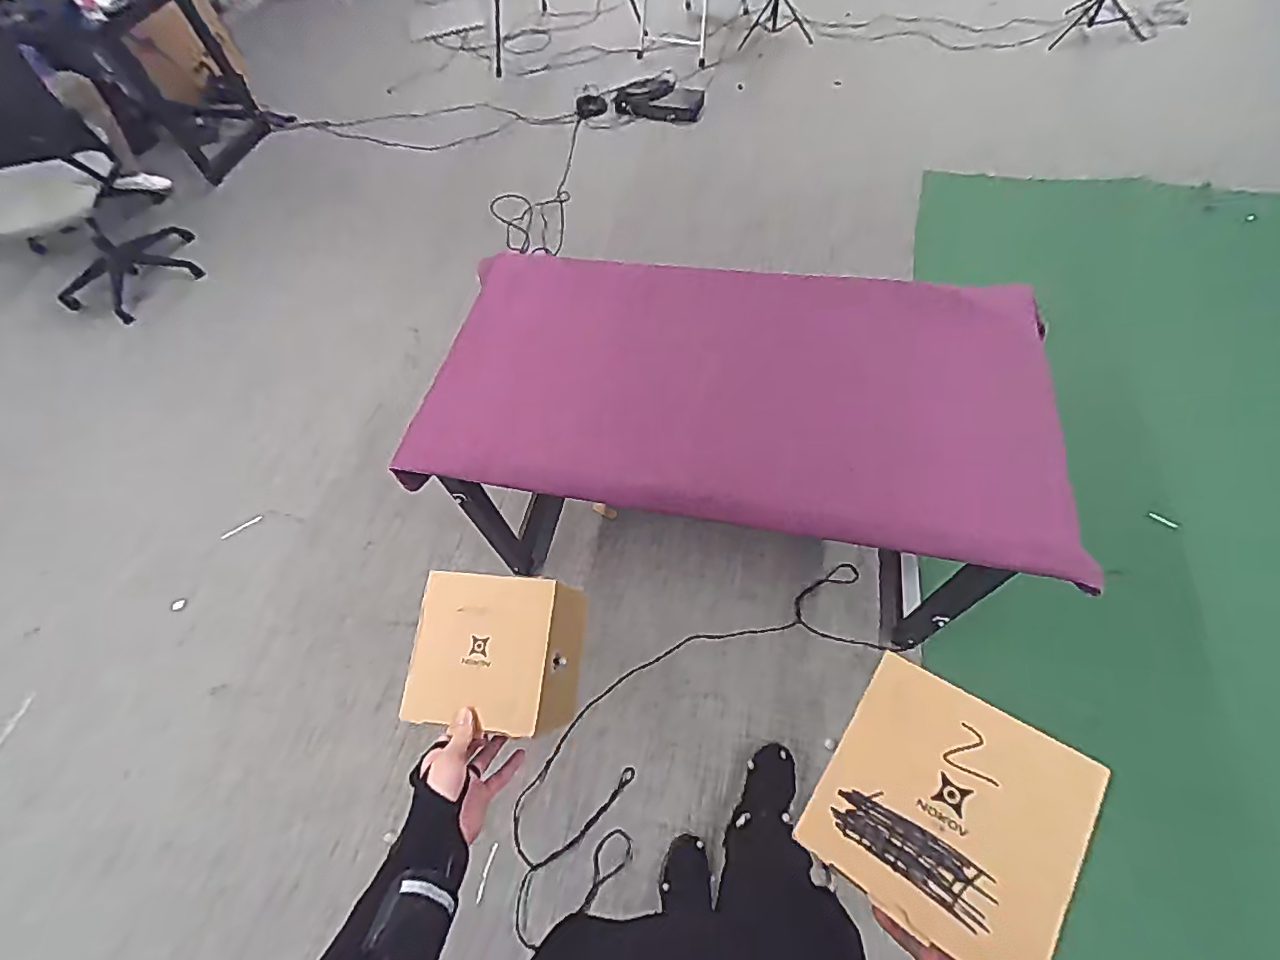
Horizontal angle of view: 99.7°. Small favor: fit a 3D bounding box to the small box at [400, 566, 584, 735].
[{"bbox_3d":[-0.178,0.218,0.709,0.168,0.176,0.179,4,73,9],"label":"small box"}]
